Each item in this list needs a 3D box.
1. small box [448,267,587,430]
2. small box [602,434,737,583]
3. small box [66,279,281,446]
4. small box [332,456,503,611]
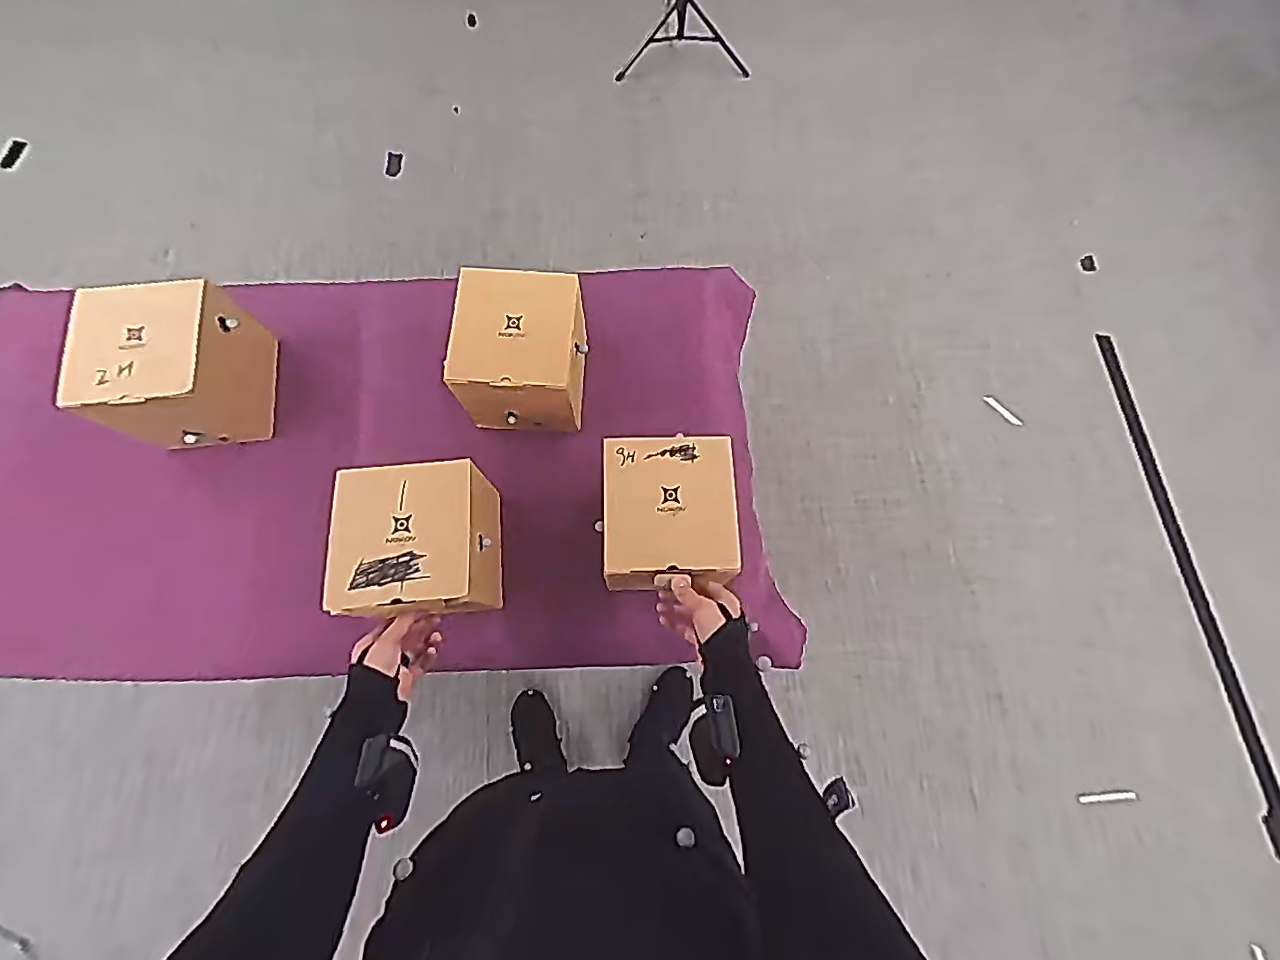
[{"bbox_3d":[-0.171,-0.191,0.814,0.168,0.176,0.179,3,75,-1],"label":"small box"},{"bbox_3d":[0.035,0.047,0.745,0.168,0.176,0.179,0,72,-1],"label":"small box"},{"bbox_3d":[-0.658,-0.164,0.790,0.168,0.176,0.179,-6,74,-4],"label":"small box"},{"bbox_3d":[-0.284,0.081,0.726,0.168,0.176,0.179,-5,72,-3],"label":"small box"}]
